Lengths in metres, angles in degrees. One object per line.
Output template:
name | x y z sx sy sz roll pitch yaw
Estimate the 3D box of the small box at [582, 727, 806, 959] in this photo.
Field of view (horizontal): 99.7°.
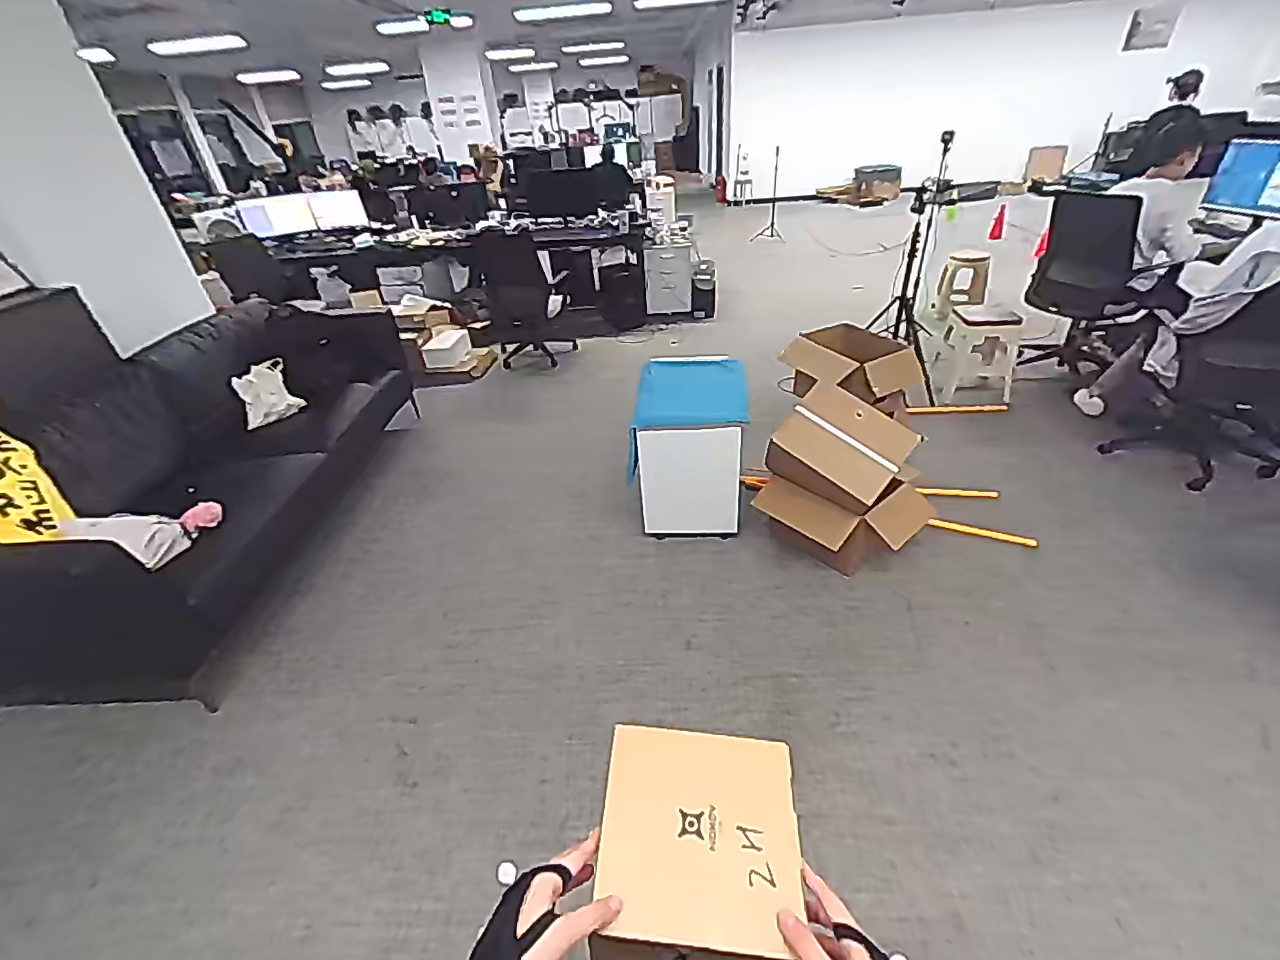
small box | 0.047 0.365 0.523 0.179 0.176 0.168 5 42 3
